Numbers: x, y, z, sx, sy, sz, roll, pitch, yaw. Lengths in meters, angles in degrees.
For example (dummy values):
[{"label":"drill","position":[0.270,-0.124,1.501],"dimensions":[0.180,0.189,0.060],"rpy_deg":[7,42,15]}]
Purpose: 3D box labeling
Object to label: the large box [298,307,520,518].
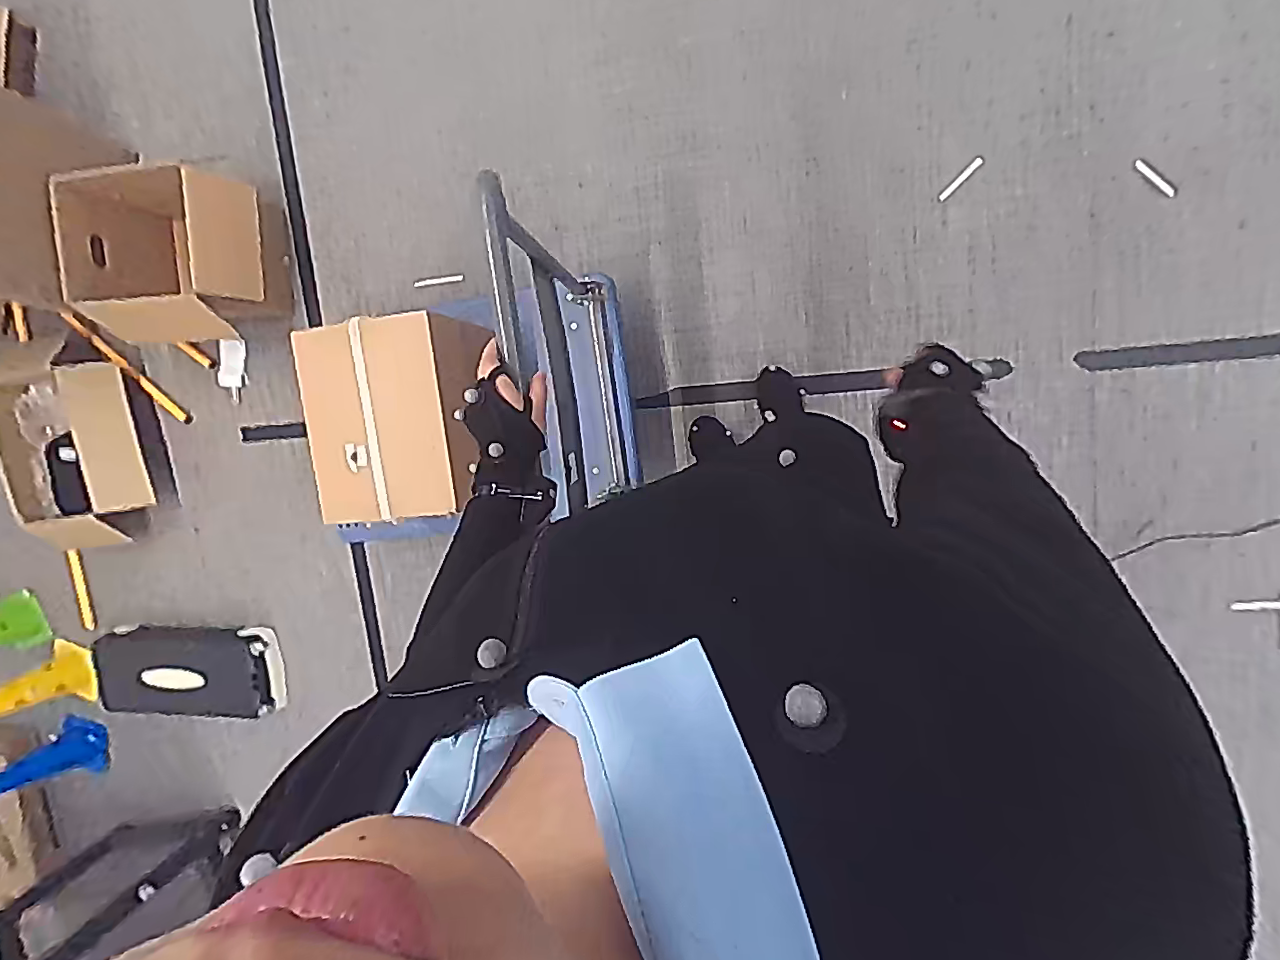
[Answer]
[{"label":"large box","position":[-0.503,-0.152,1.248],"dimensions":[0.320,0.320,0.408],"rpy_deg":[-5,98,11]}]
